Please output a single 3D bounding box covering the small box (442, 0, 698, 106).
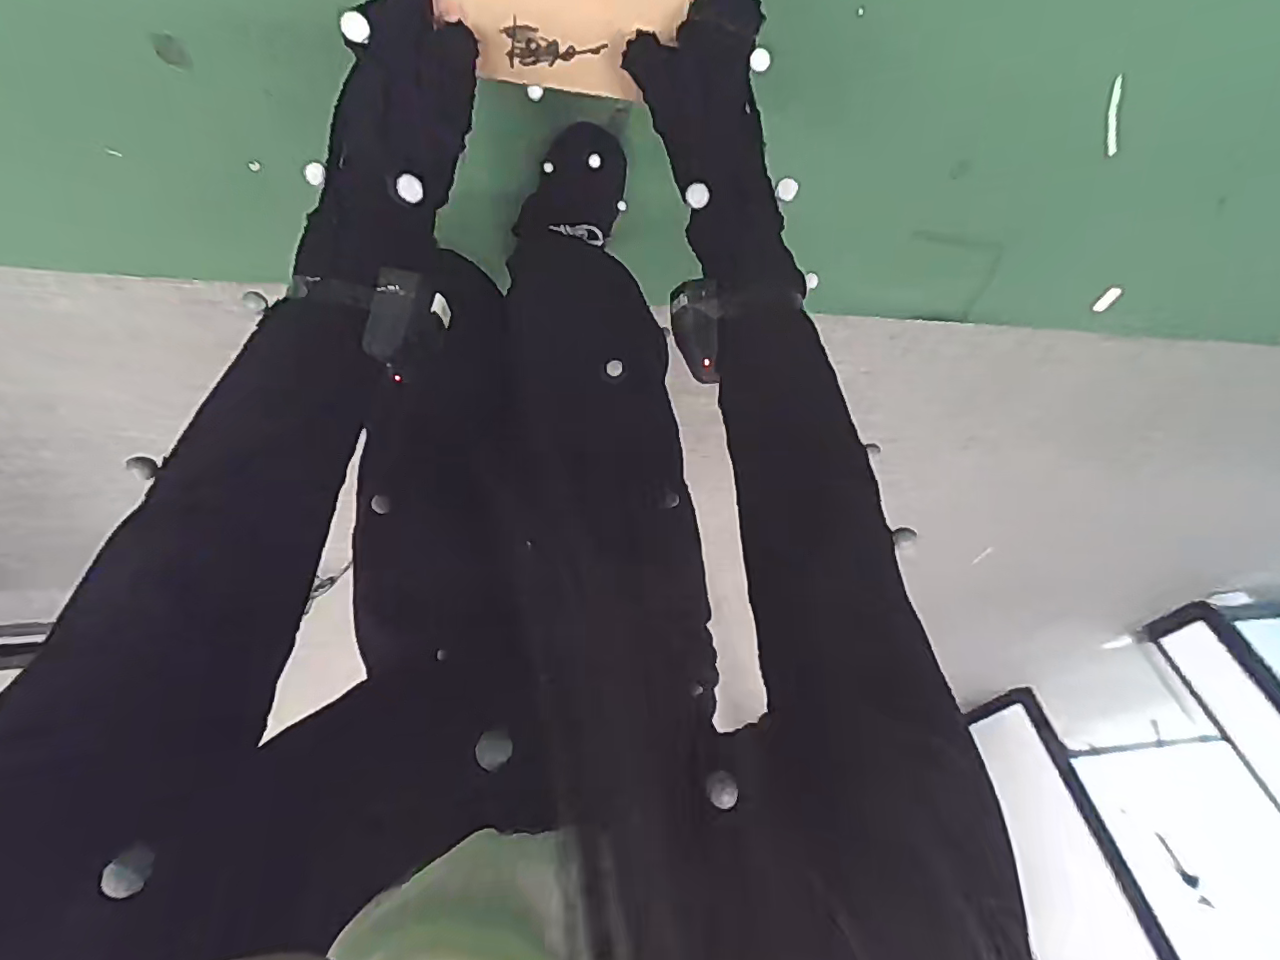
[{"bbox_3d":[-0.046,-0.394,0.370,0.168,0.176,0.179,1,140,-11],"label":"small box"}]
